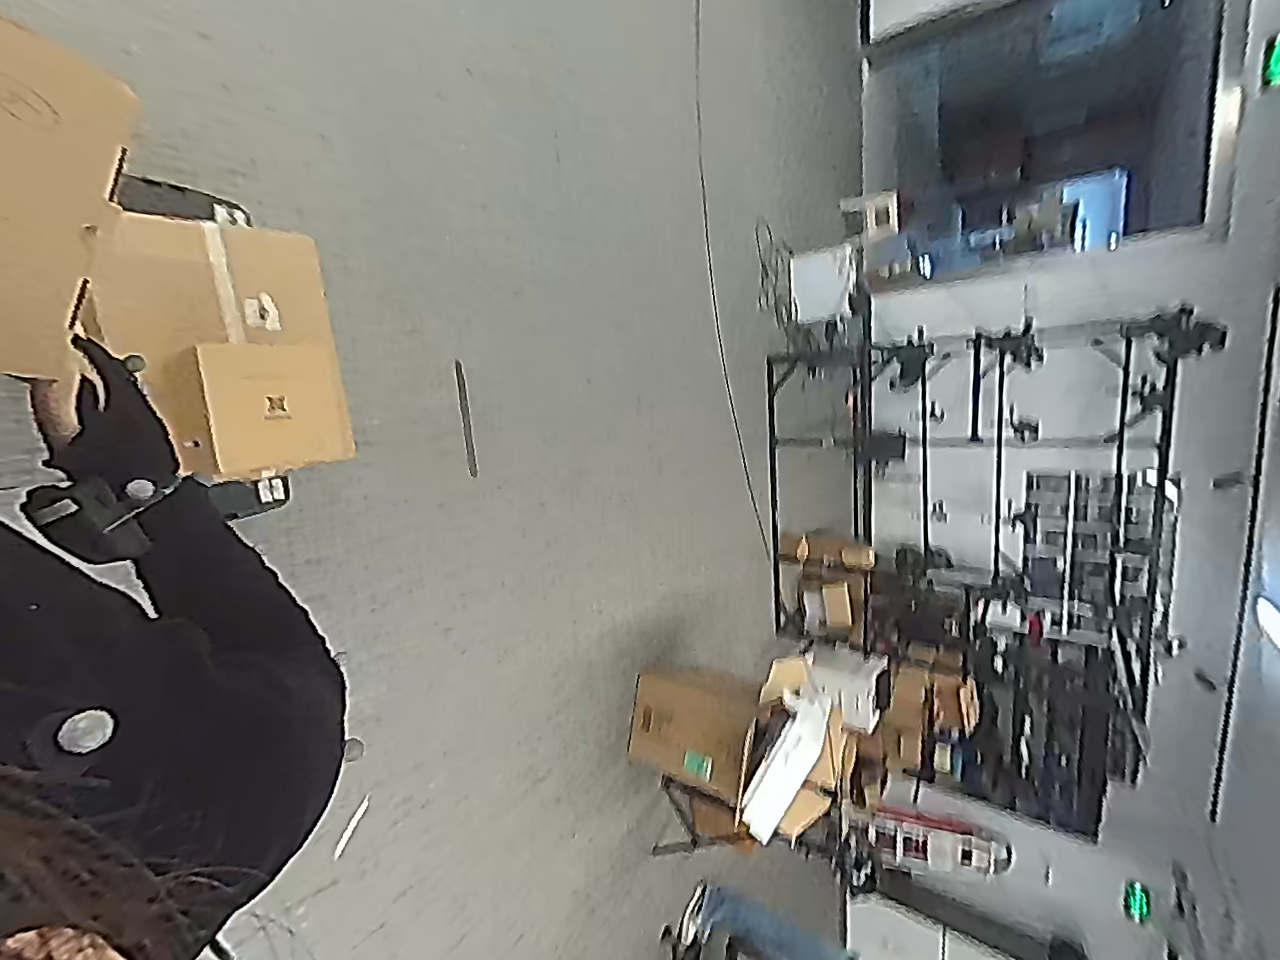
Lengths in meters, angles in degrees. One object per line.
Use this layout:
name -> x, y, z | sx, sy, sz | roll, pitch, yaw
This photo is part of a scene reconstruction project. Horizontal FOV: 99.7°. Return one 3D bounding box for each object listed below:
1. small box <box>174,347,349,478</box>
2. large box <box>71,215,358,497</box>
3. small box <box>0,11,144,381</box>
small box -> -0.573, -0.102, 0.822 | 0.168, 0.176, 0.179 | -14, 103, -51
large box -> -0.768, -0.203, 0.966 | 0.320, 0.320, 0.408 | -20, 107, -52
small box -> -0.396, -0.163, 0.255 | 0.179, 0.176, 0.168 | 14, 94, -60
